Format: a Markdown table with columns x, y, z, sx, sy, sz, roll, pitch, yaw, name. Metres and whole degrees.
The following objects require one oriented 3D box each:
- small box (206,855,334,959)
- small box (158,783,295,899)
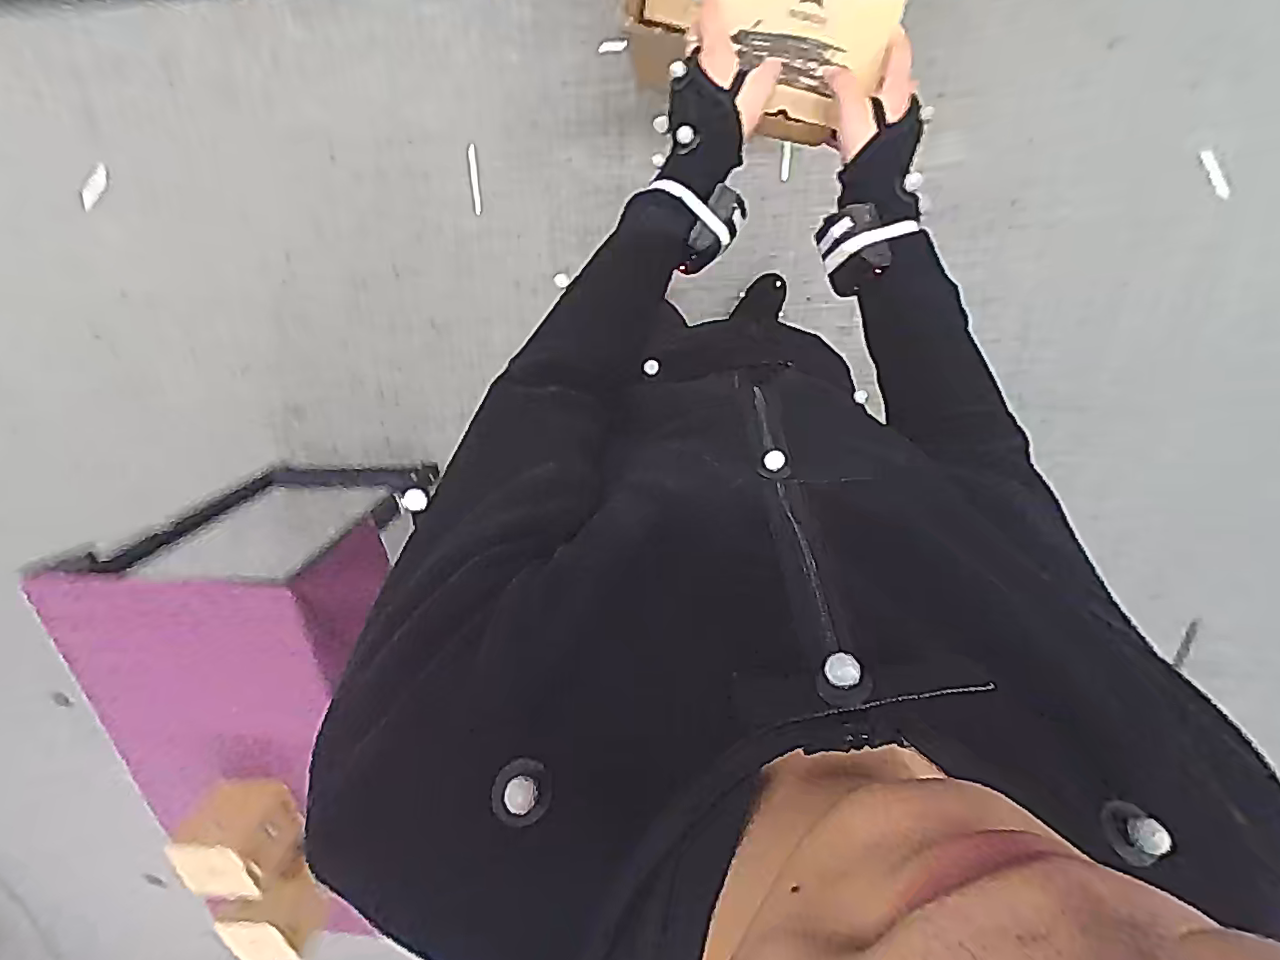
| x | y | z | sx | sy | sz | roll | pitch | yaw | name |
| --- | --- | --- | --- | --- | --- | --- | --- | --- | --- |
| -0.932 | 1.092 | 1.378 | 0.179 | 0.176 | 0.168 | -8 | 113 | 8 | small box |
| -0.956 | 0.844 | 1.274 | 0.179 | 0.176 | 0.168 | -2 | 112 | 6 | small box |
